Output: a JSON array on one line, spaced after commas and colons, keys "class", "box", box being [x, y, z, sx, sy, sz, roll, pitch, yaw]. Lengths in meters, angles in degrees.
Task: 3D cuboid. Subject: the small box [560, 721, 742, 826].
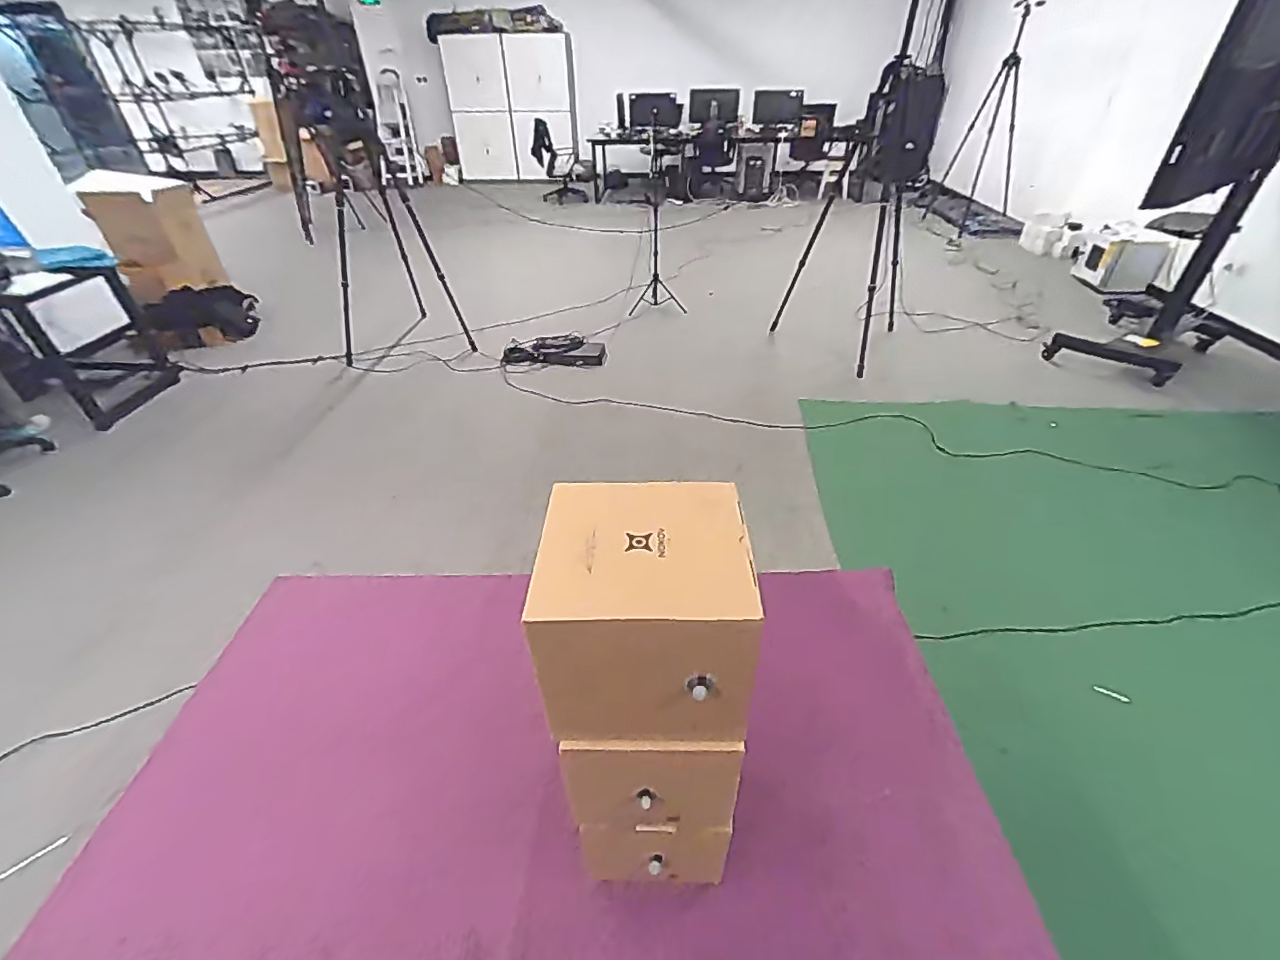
[{"class": "small box", "box": [0.014, 0.253, 0.590, 0.168, 0.176, 0.179, 0, 37, 1]}]

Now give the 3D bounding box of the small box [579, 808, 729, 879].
[{"class": "small box", "box": [0.021, 0.384, 0.691, 0.168, 0.176, 0.179, 1, 38, 2]}]

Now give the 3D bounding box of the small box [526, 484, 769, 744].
[{"class": "small box", "box": [0.008, 0.120, 0.495, 0.179, 0.176, 0.168, 0, 36, 2]}]
